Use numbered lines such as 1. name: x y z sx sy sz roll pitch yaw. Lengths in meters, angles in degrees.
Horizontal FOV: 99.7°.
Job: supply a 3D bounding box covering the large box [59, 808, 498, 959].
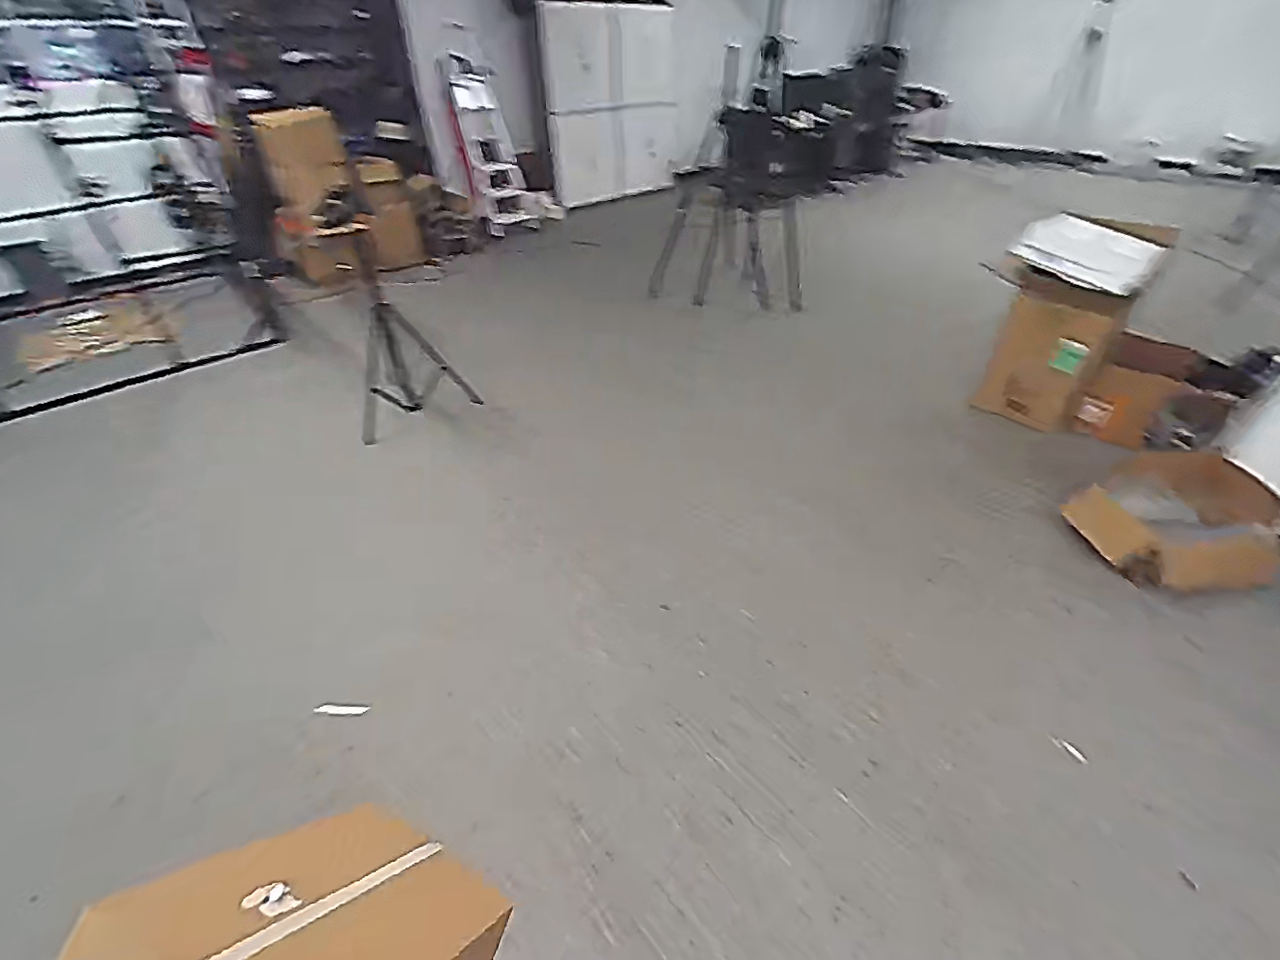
1. large box: -0.454 0.693 0.670 0.320 0.408 0.320 16 81 21
